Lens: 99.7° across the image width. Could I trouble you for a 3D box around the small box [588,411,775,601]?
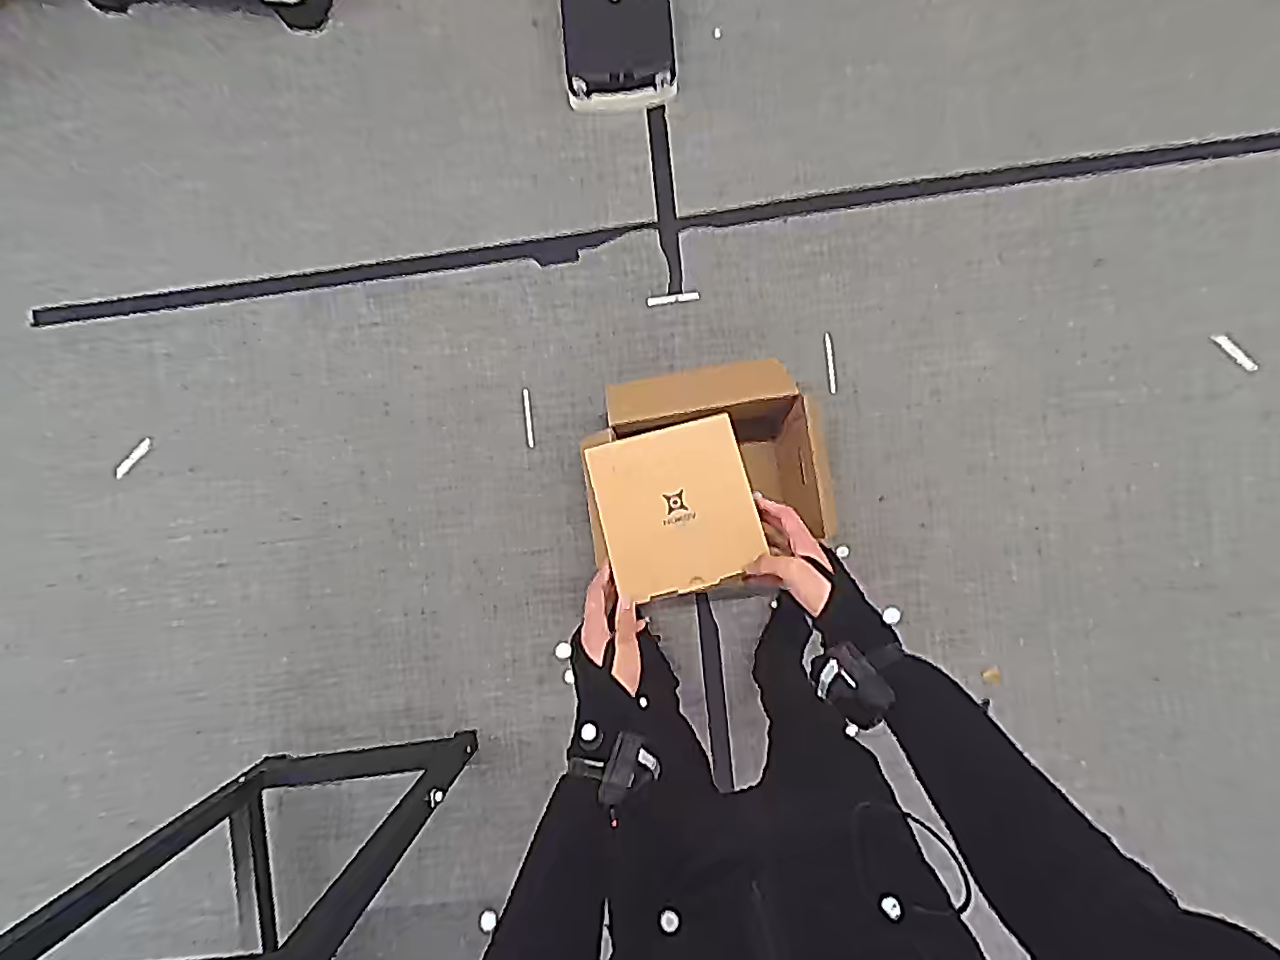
[{"bbox_3d":[0.042,0.042,0.646,0.168,0.176,0.179,-14,78,-1],"label":"small box"}]
